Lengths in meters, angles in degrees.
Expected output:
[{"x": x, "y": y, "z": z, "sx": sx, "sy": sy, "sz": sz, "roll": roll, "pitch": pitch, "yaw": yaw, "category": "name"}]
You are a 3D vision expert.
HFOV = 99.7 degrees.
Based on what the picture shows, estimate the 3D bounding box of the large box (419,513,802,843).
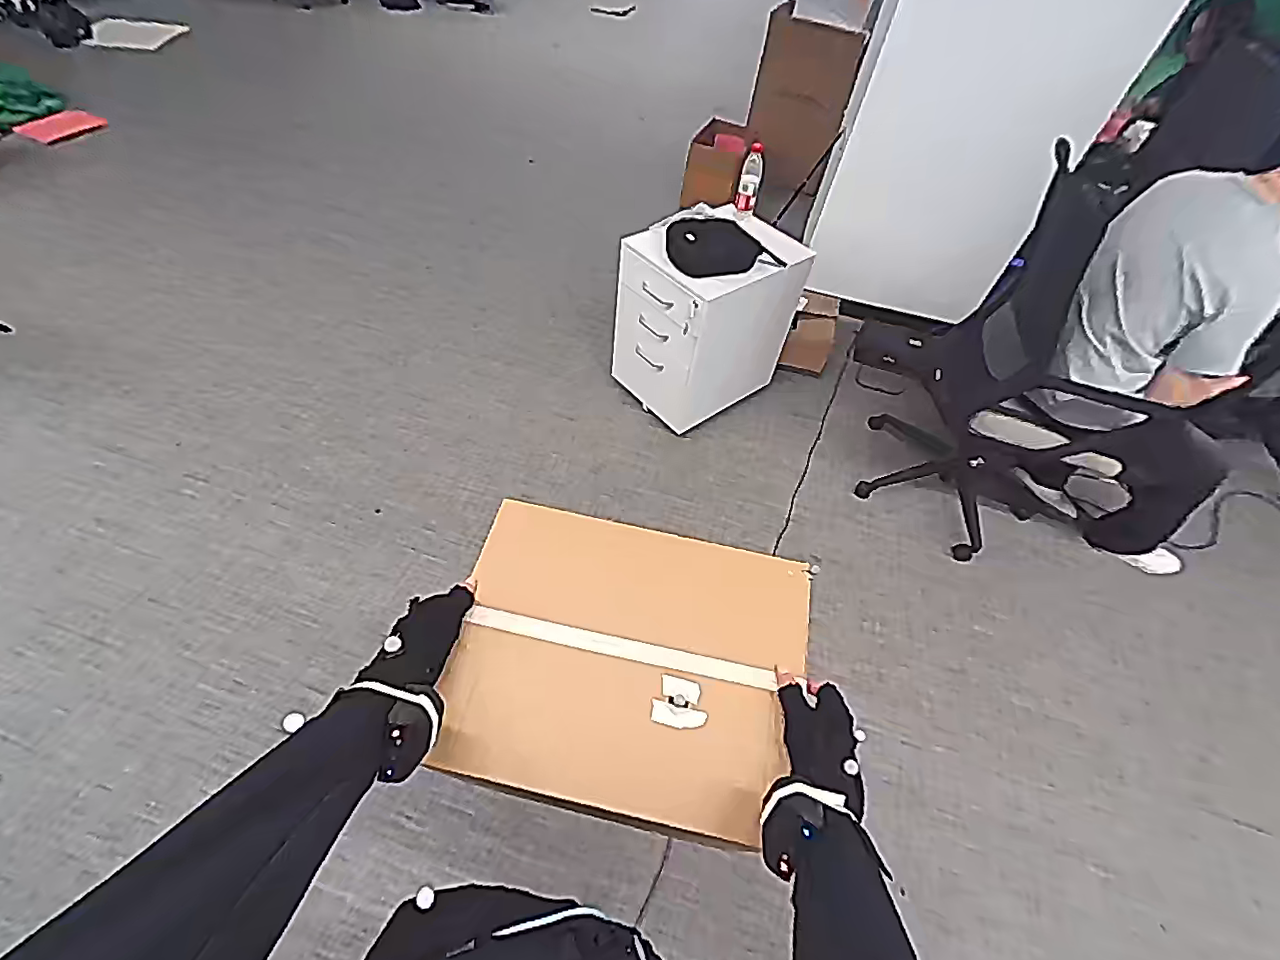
[{"x": -0.023, "y": 0.285, "z": 0.757, "sx": 0.408, "sy": 0.320, "sz": 0.320, "roll": 12, "pitch": 58, "yaw": 3, "category": "large box"}]
